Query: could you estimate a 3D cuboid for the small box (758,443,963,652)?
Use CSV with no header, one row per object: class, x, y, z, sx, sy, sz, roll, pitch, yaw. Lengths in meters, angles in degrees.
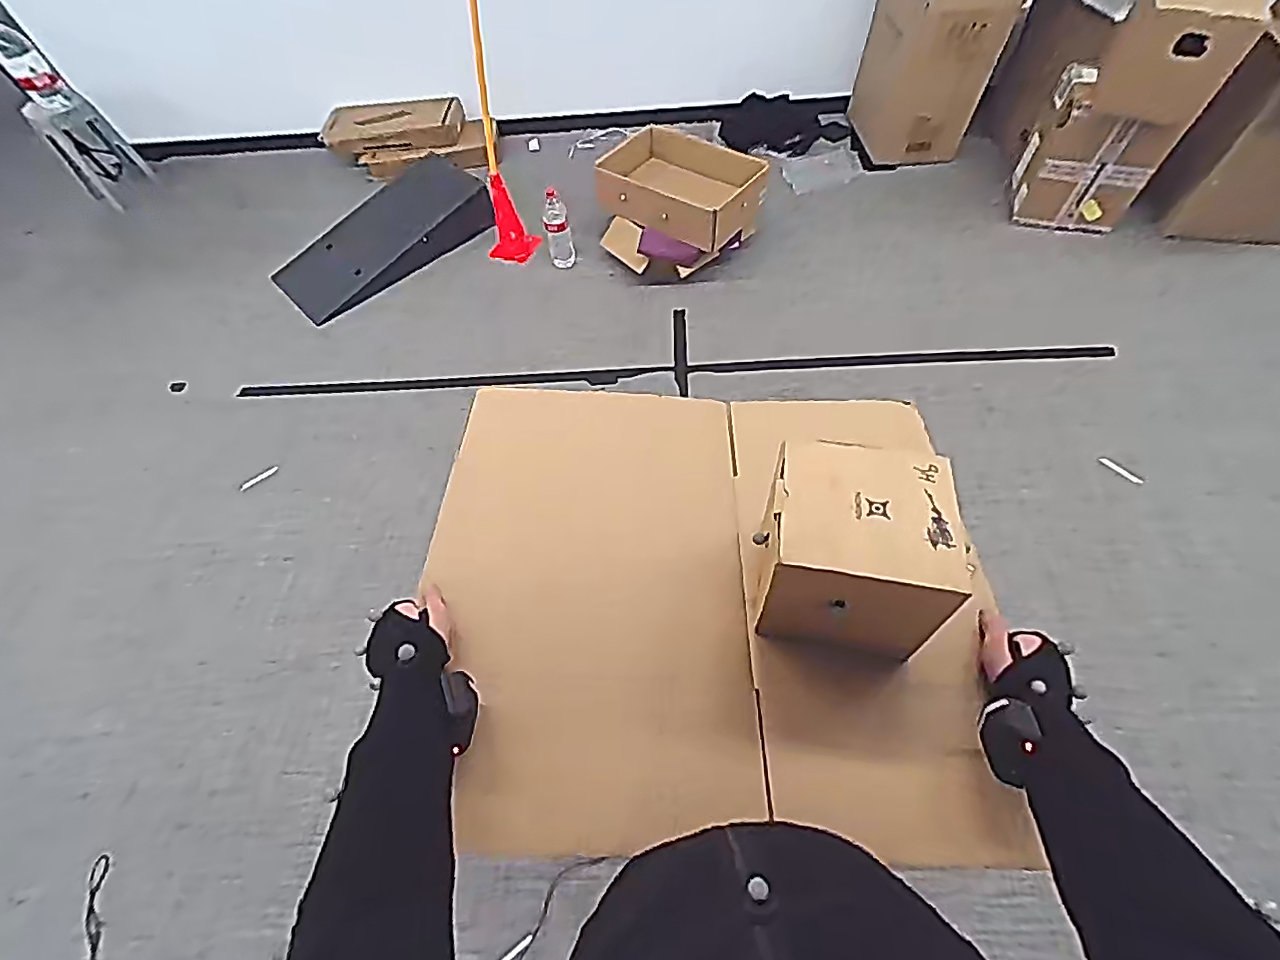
small box,0.233,0.081,0.618,0.179,0.176,0.168,7,54,10
